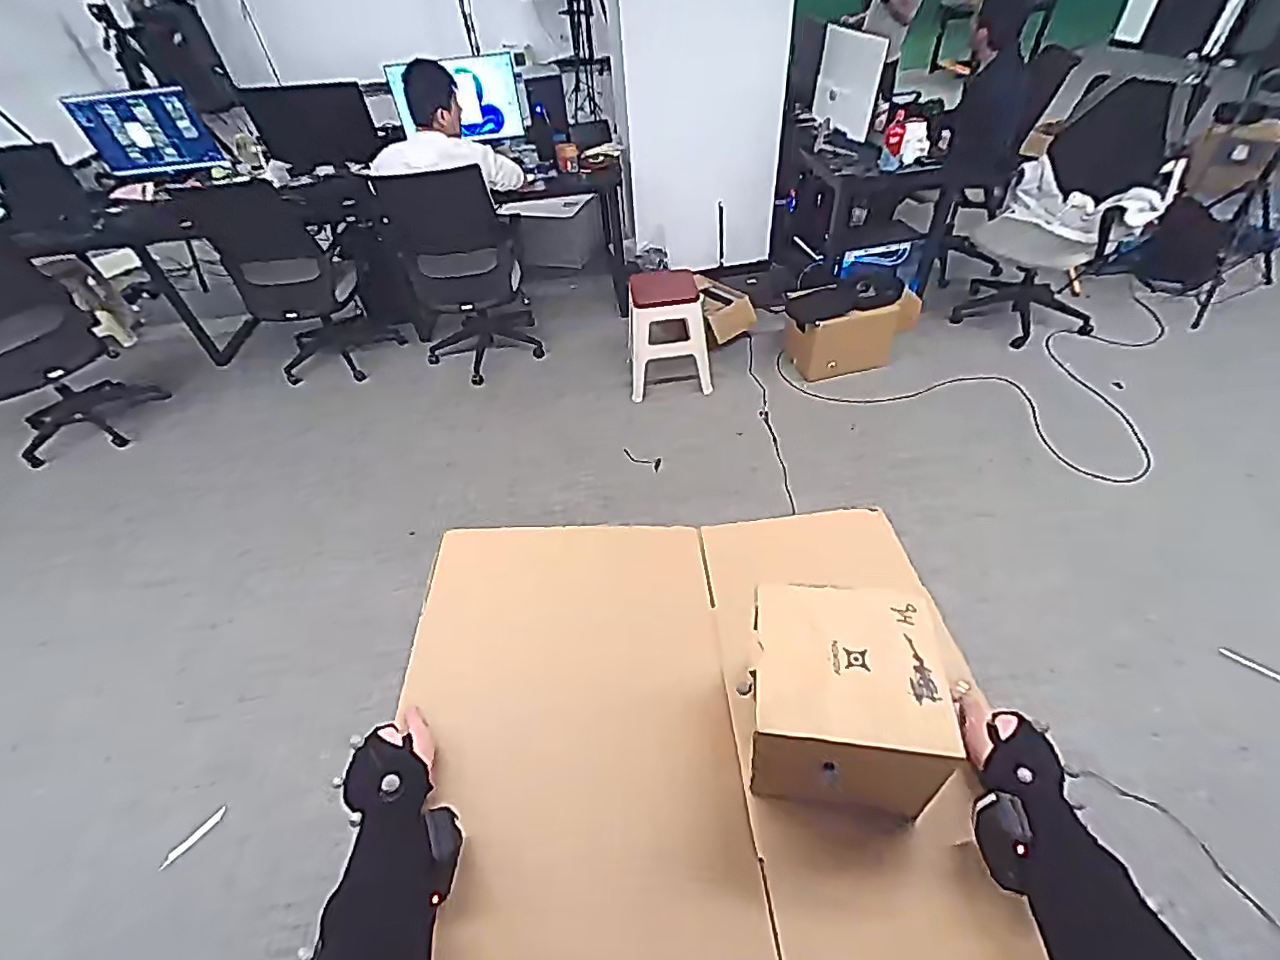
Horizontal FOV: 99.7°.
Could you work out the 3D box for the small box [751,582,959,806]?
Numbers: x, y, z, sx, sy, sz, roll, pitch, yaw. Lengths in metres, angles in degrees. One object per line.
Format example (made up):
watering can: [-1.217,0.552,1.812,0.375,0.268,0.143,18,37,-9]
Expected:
small box: [0.213,0.231,0.587,0.179,0.176,0.168,2,44,13]
